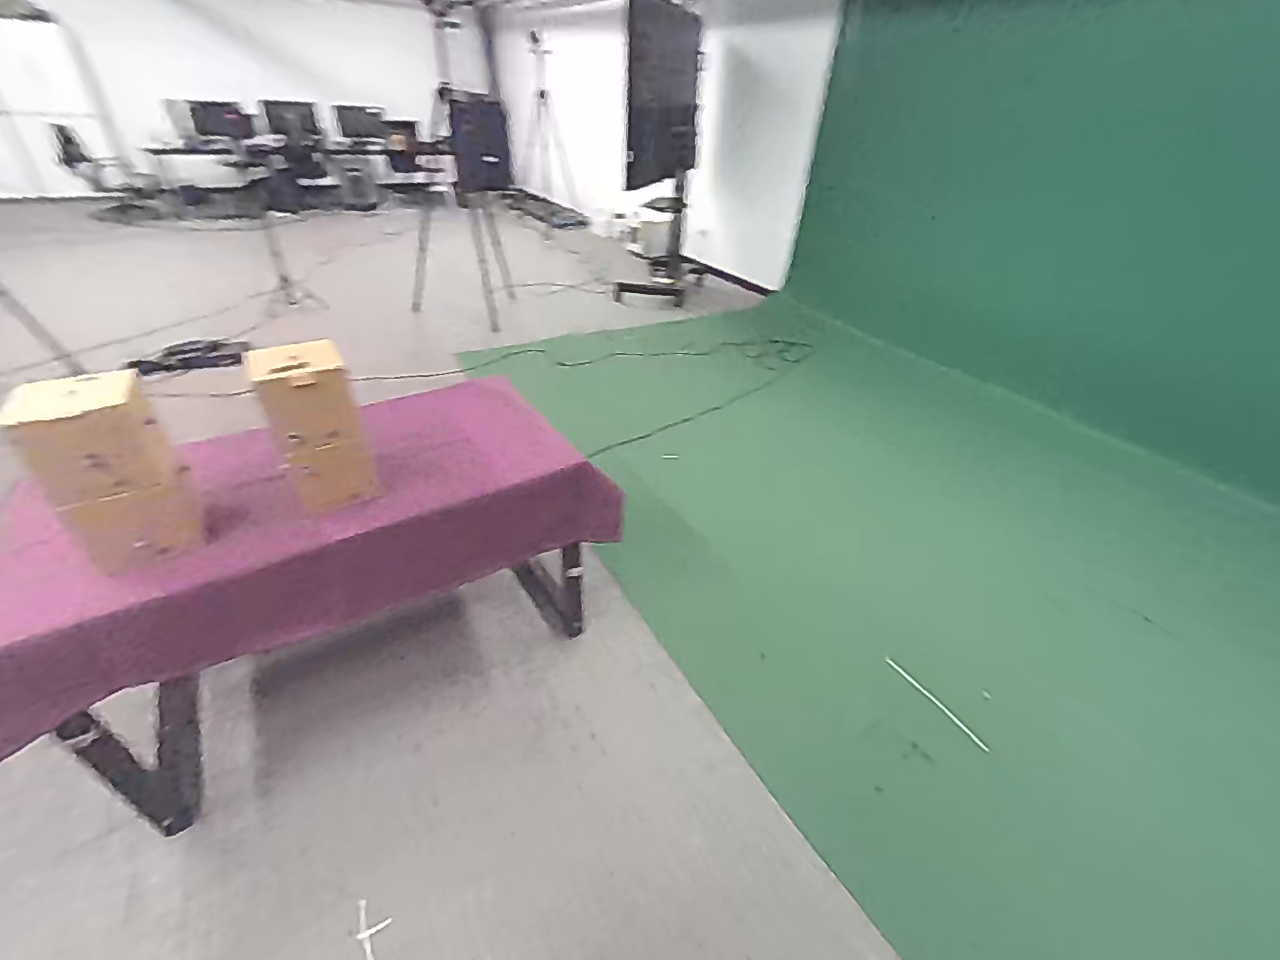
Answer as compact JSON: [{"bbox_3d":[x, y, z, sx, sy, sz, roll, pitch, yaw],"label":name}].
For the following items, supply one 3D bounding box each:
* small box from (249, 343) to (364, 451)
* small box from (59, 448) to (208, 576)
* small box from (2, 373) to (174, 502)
[{"bbox_3d":[-0.718,-0.177,1.173,0.168,0.176,0.179,-19,39,-28],"label":"small box"},{"bbox_3d":[-1.010,0.061,1.098,0.168,0.176,0.179,-19,41,-27],"label":"small box"},{"bbox_3d":[-1.005,-0.075,1.005,0.168,0.176,0.179,-18,40,-28],"label":"small box"}]
